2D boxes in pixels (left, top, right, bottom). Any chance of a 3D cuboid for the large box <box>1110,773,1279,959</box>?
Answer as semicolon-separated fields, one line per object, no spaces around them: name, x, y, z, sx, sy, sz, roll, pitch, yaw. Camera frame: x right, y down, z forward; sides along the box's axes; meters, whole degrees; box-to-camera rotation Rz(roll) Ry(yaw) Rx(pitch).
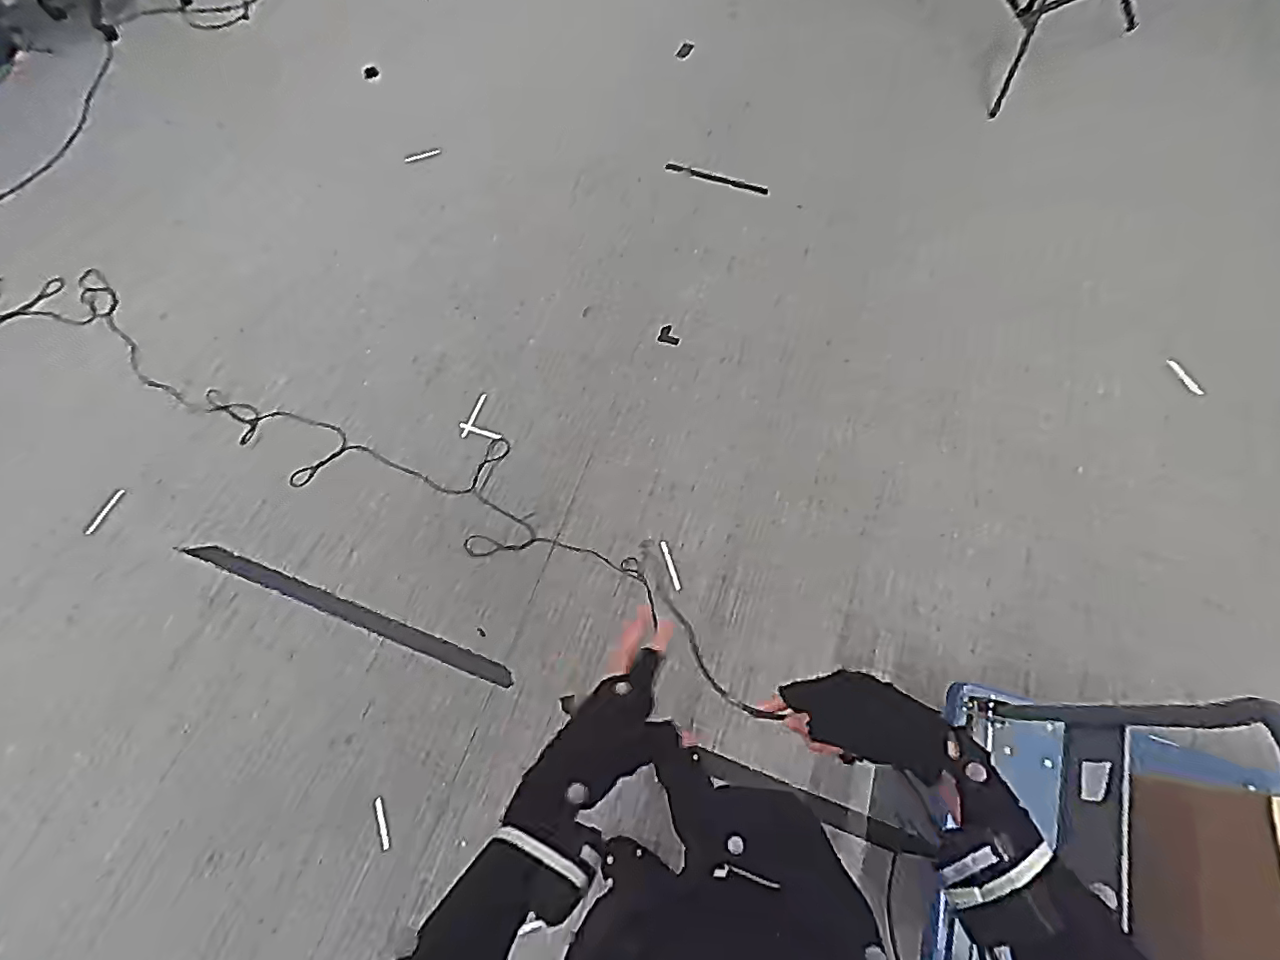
large box;1.054;0.735;0.869;0.320;0.320;0.408;9;69;6
